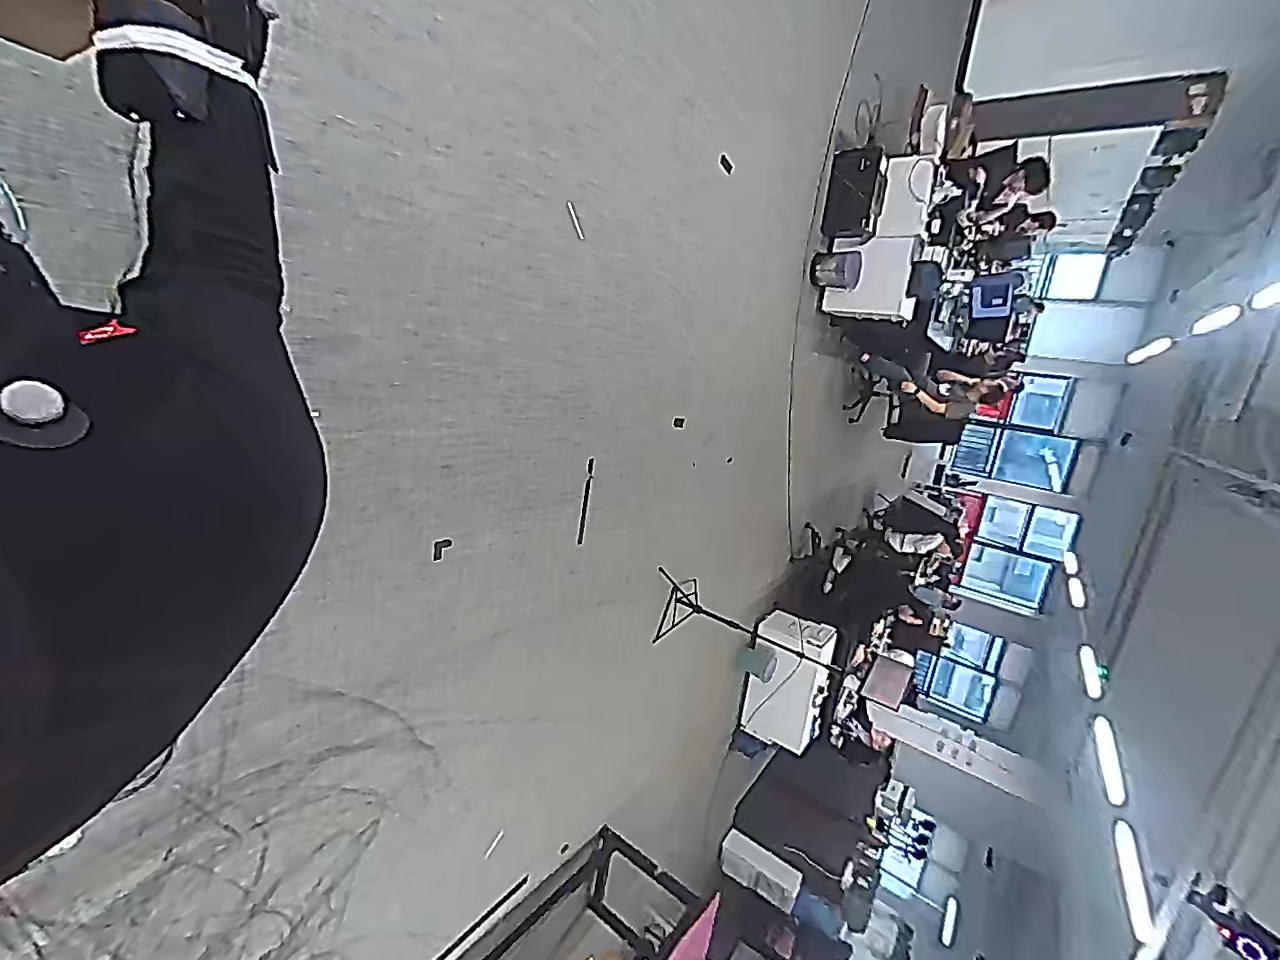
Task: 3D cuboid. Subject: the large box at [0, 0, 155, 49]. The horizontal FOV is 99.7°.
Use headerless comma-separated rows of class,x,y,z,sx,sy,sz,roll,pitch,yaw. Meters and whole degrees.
large box,-0.528,-0.493,0.248,0.408,0.320,0.320,-7,115,-55
